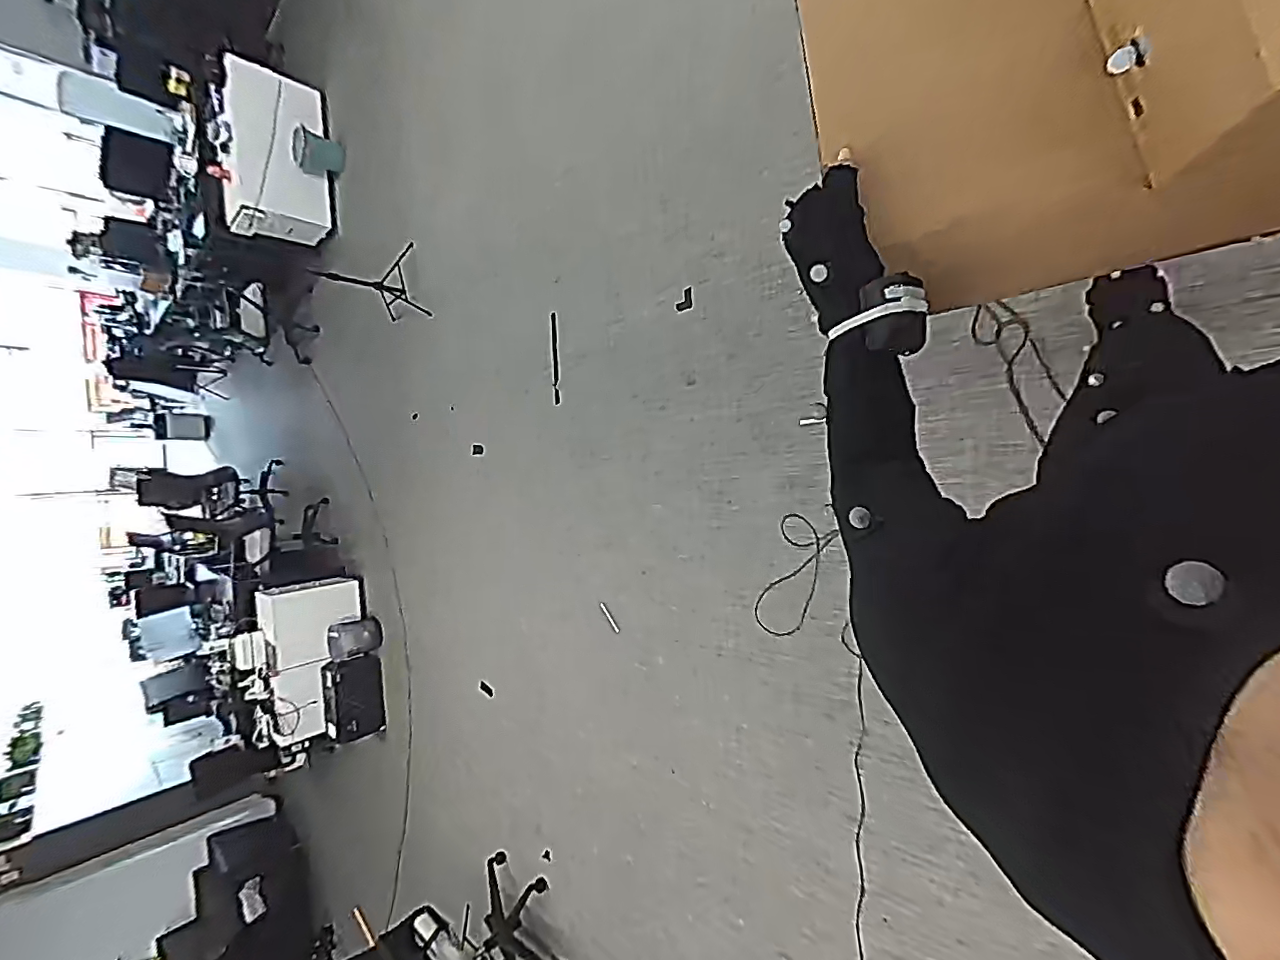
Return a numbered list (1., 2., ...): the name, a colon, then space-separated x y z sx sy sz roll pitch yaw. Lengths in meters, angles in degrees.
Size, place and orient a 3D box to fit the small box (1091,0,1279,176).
1. small box: 0.409 -0.318 0.311 0.179 0.176 0.168 -19 90 30
